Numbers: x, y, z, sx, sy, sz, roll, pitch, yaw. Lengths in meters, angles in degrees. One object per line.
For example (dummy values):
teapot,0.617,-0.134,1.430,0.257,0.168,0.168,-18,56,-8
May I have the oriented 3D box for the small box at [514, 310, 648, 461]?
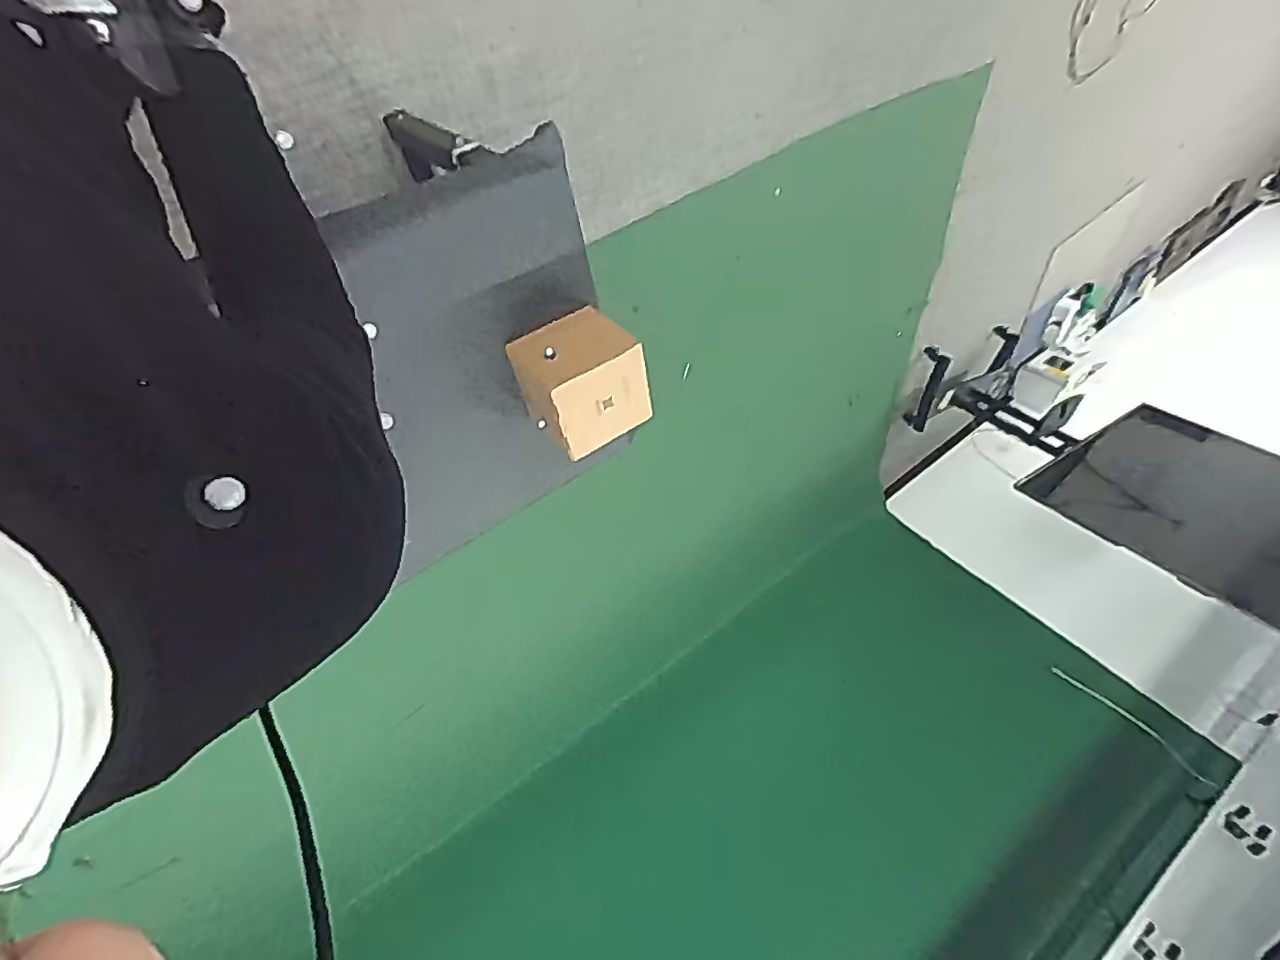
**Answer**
small box,-0.106,-0.172,0.956,0.179,0.176,0.168,-30,143,-20
